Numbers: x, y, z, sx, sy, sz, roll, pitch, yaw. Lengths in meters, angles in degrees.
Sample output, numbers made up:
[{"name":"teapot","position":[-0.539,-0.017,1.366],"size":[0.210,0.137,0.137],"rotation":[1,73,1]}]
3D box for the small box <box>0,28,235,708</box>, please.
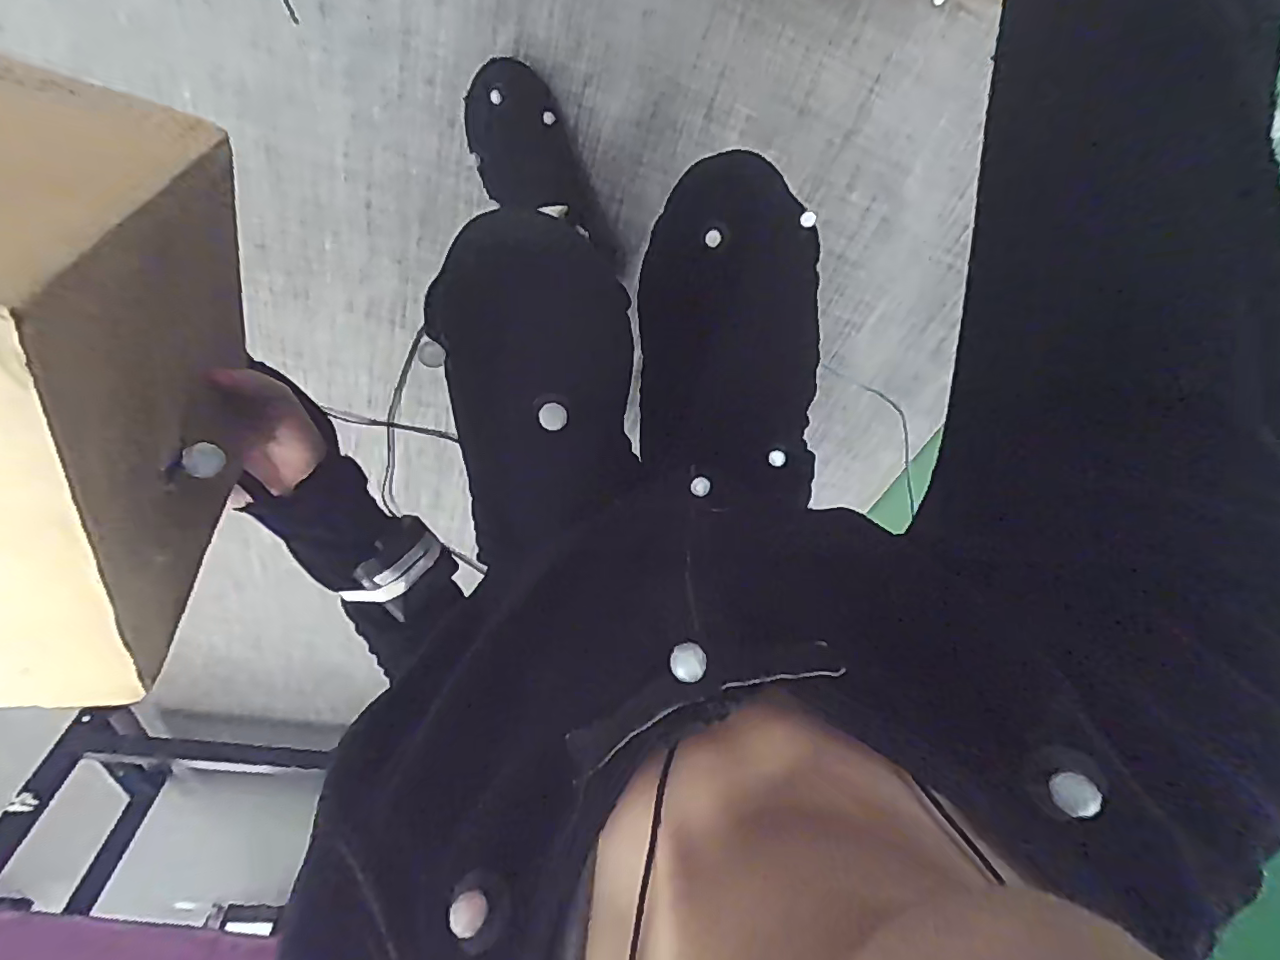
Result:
[{"name":"small box","position":[-0.253,-0.044,0.176],"size":[0.168,0.176,0.179],"rotation":[8,130,-26]}]
